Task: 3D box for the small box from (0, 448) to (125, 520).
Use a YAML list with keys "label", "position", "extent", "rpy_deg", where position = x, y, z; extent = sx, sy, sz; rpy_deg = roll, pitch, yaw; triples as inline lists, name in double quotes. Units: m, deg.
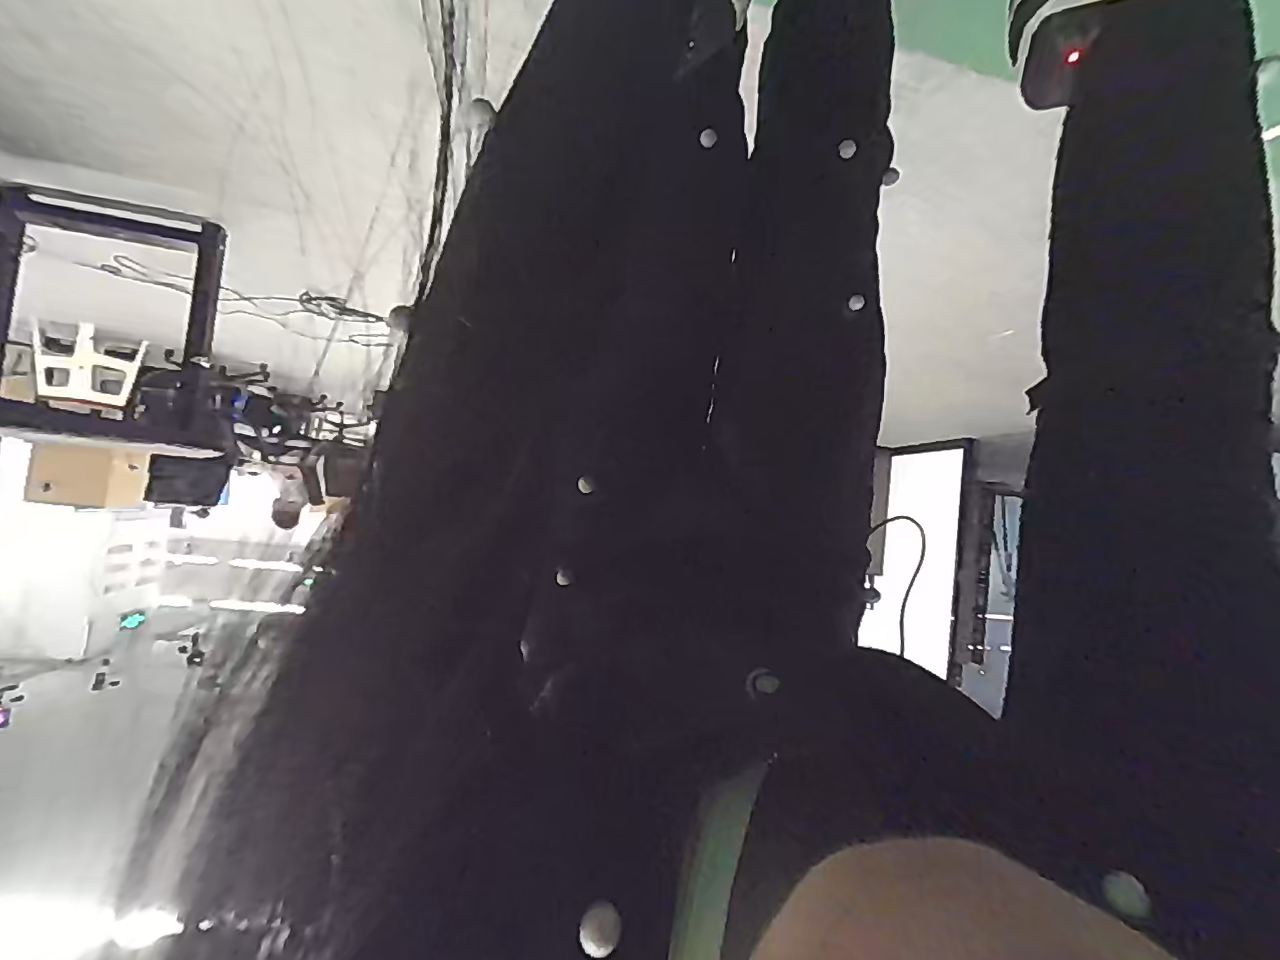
- label: "small box"
  position: [-1.510, 0.010, 1.415]
  extent: [0.179, 0.176, 0.168]
  rpy_deg: [7, 176, -17]
